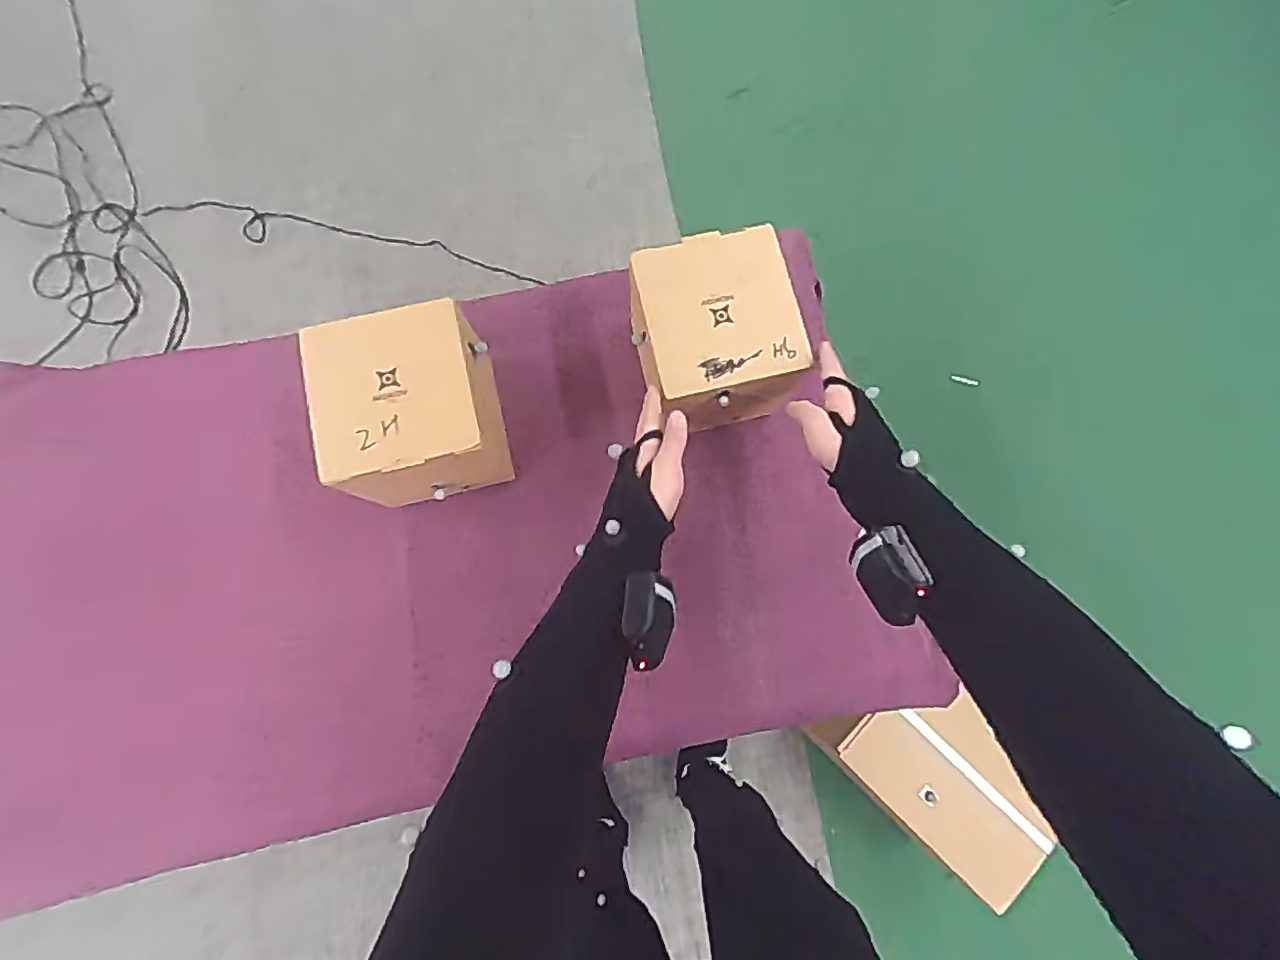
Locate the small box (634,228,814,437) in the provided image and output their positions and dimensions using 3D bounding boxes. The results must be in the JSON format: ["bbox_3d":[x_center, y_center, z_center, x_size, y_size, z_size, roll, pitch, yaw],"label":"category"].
[{"bbox_3d":[0.088,-0.170,0.665,0.168,0.176,0.179,-13,81,-2],"label":"small box"}]

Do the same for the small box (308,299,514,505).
[{"bbox_3d":[-0.259,-0.081,0.642,0.168,0.176,0.179,-13,79,-3],"label":"small box"}]
